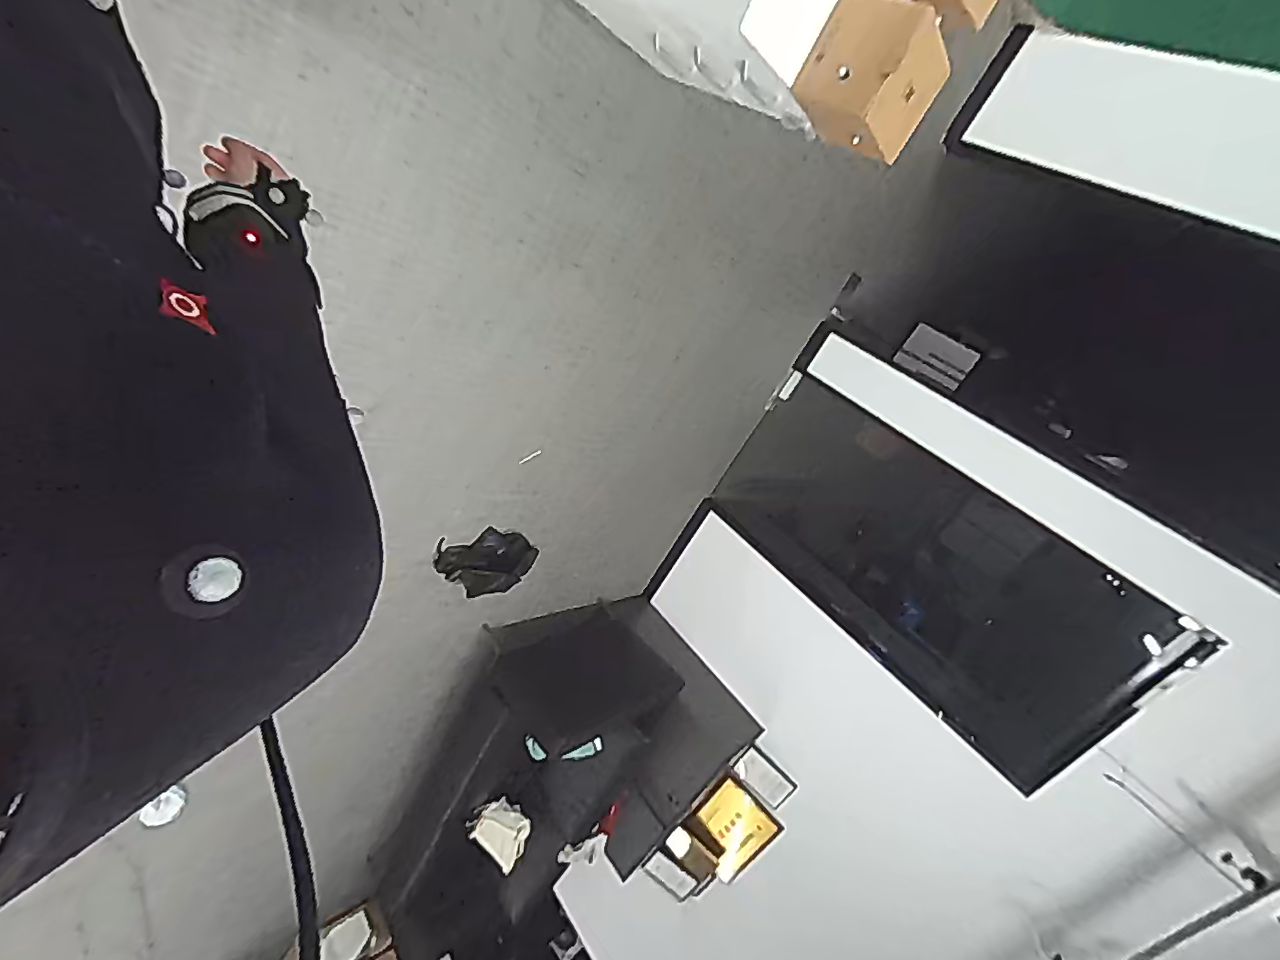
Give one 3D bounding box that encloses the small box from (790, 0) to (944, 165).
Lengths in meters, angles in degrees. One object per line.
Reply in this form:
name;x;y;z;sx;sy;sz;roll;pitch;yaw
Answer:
small box;0.398;-0.704;0.962;0.179;0.176;0.168;0;128;-53
